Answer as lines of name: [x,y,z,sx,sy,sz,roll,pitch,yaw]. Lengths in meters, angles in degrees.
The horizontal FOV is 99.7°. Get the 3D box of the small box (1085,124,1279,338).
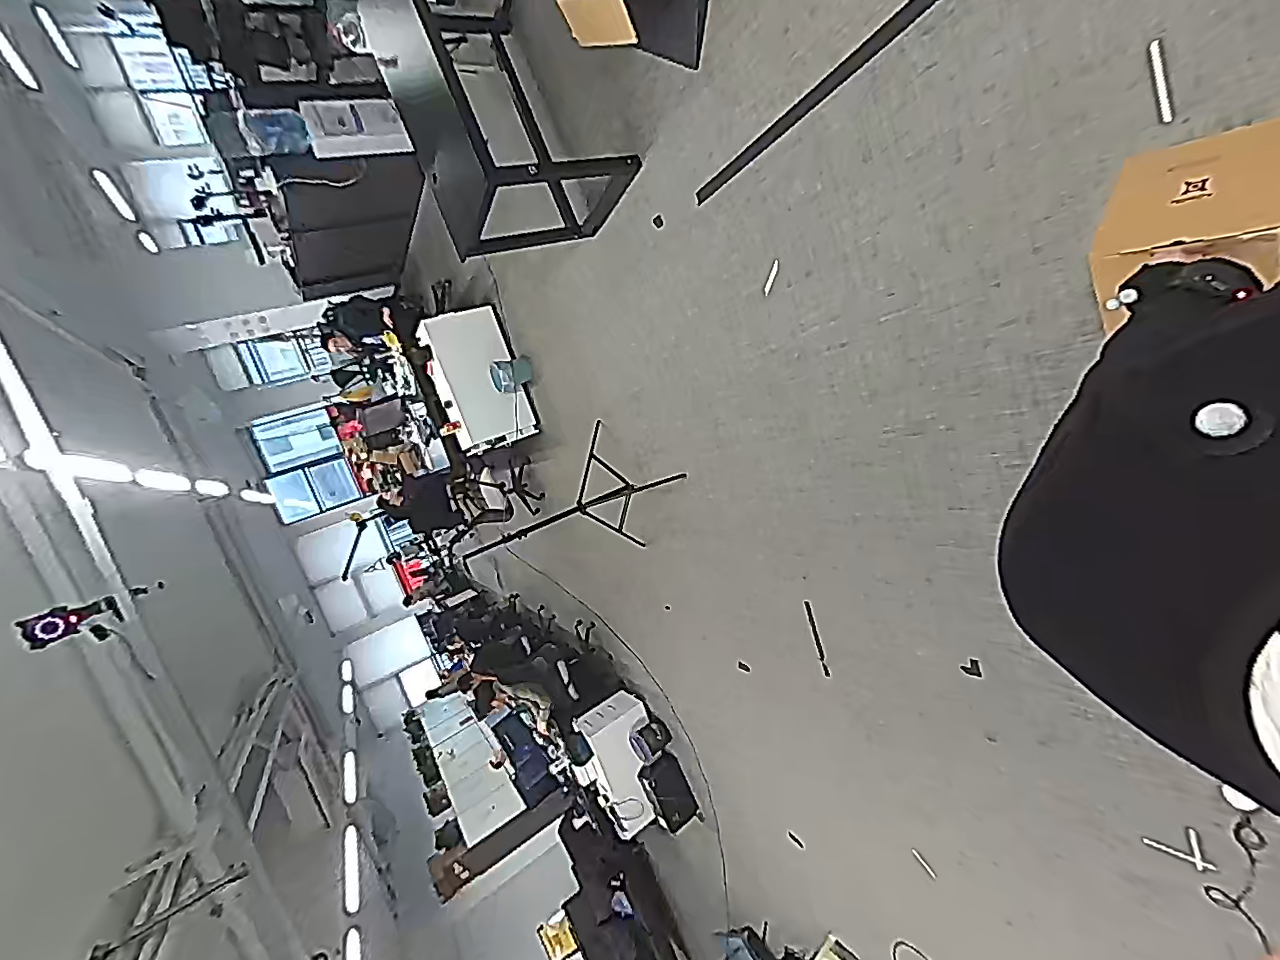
small box: [0.702,-0.294,0.681,0.176,0.179,0.168,37,165,-35]
